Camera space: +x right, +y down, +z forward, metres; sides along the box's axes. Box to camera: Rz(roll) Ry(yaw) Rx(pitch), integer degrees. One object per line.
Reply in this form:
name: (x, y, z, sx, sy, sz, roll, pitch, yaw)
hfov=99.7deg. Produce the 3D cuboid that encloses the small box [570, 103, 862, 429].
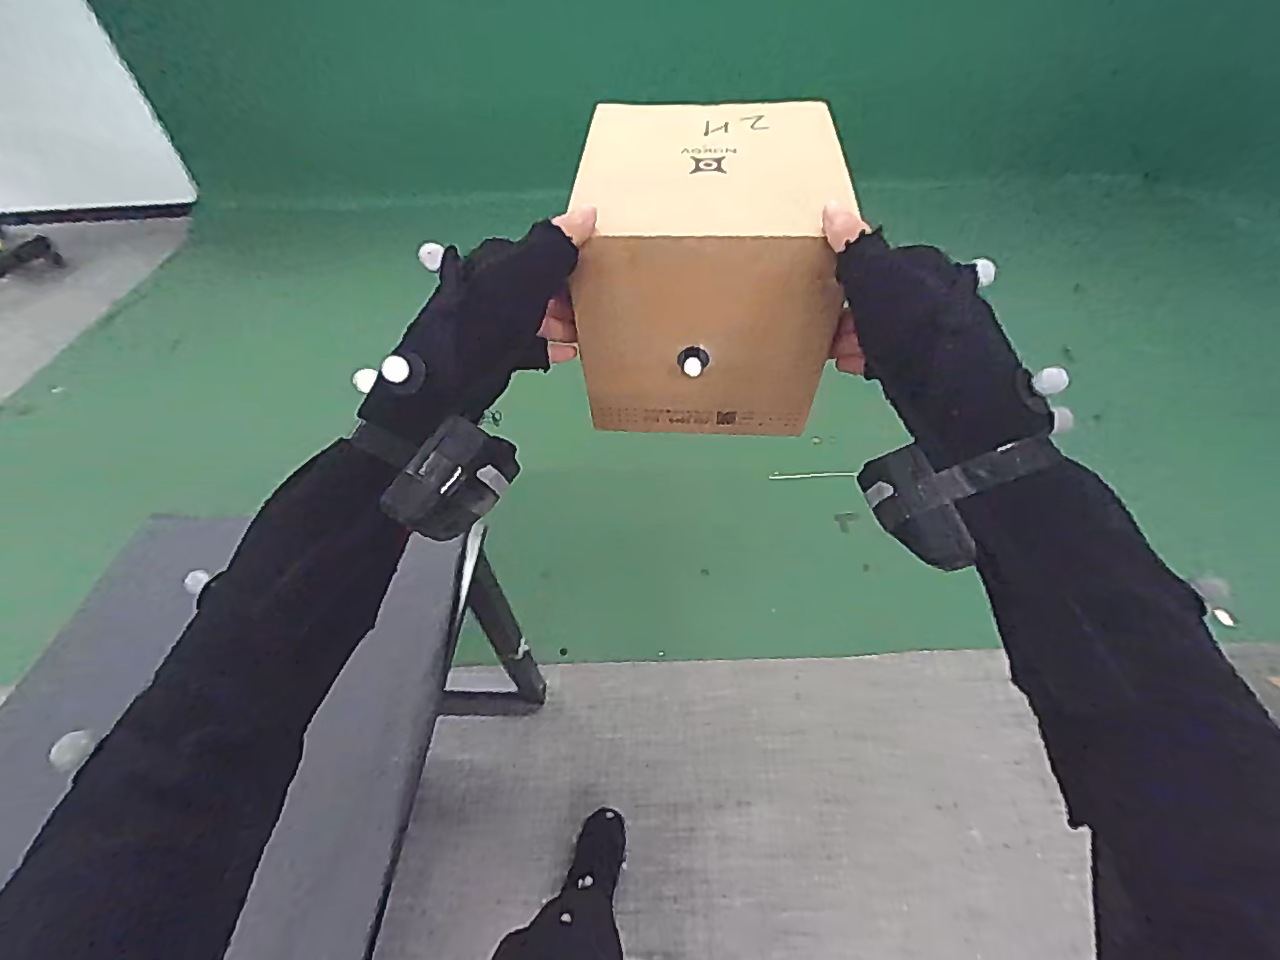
small box: (0.052, -0.155, 0.411, 0.168, 0.176, 0.179, 3, 54, 4)
